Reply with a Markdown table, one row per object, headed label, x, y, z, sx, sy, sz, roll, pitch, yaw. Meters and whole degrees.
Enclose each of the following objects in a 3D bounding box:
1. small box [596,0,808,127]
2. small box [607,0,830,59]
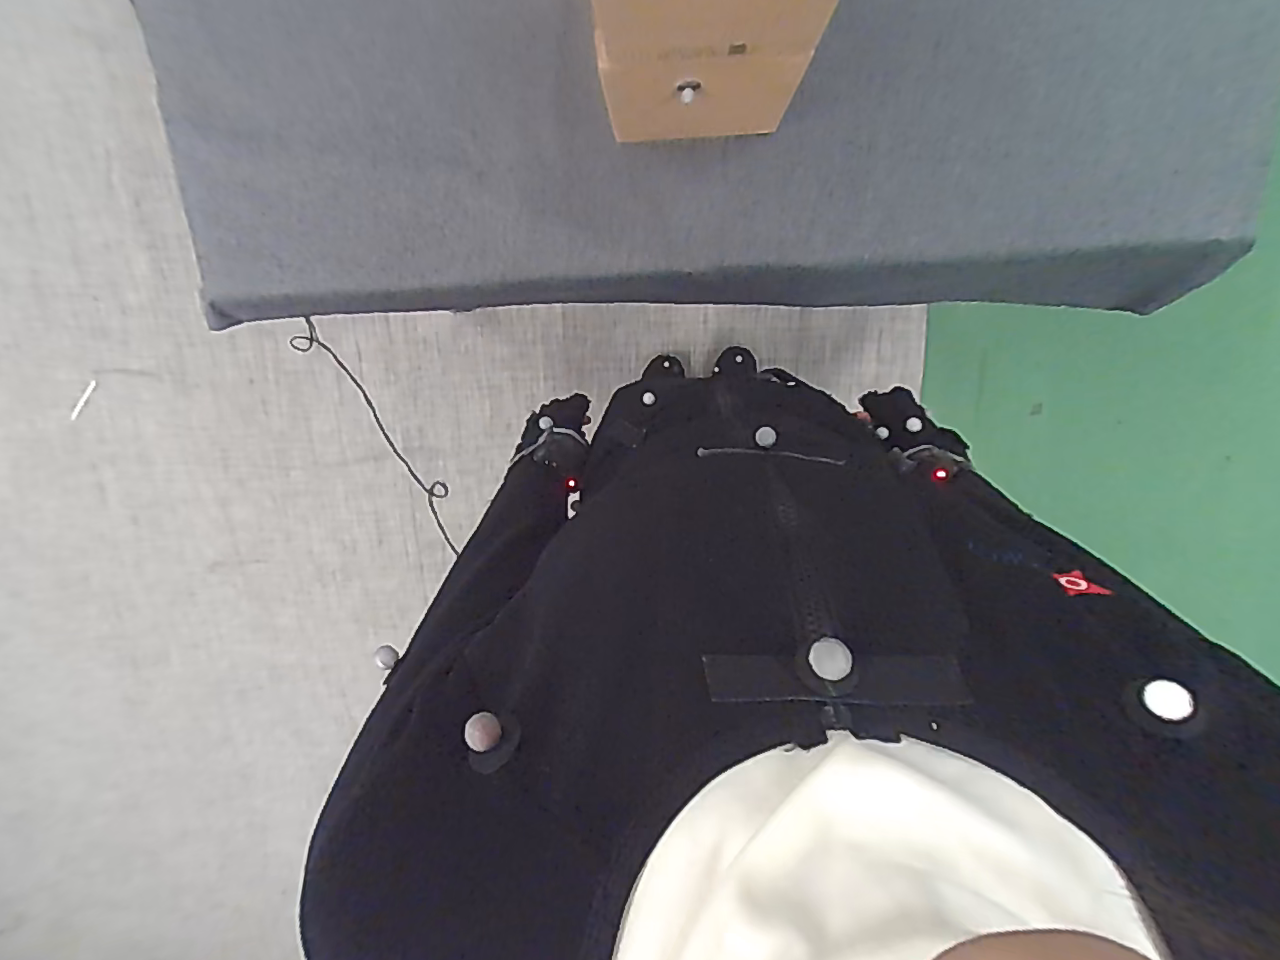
| label | x | y | z | sx | sy | sz | roll | pitch | yaw |
| --- | --- | --- | --- | --- | --- | --- | --- | --- | --- |
| small box | 0.054 | -0.449 | 0.500 | 0.179 | 0.176 | 0.168 | -1 | 104 | 3 |
| small box | 0.051 | -0.413 | 0.343 | 0.168 | 0.176 | 0.179 | -3 | 105 | 3 |
